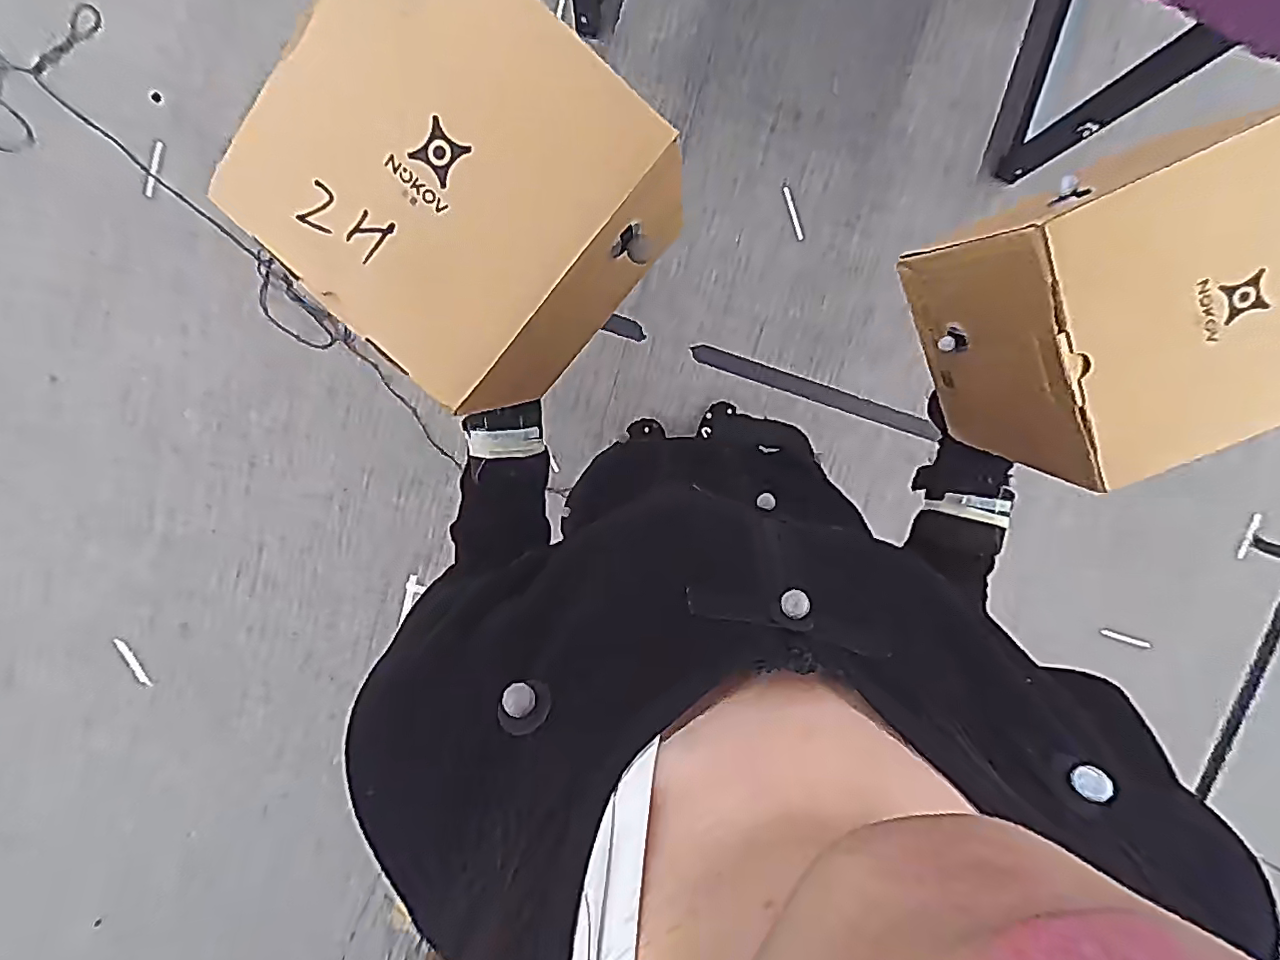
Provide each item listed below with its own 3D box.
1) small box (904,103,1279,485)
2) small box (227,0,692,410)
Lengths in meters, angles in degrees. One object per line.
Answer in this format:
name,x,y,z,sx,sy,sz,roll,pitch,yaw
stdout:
small box,0.322,-0.124,0.373,0.179,0.176,0.168,-24,105,8
small box,-0.086,-0.168,0.337,0.168,0.176,0.179,42,103,-4
